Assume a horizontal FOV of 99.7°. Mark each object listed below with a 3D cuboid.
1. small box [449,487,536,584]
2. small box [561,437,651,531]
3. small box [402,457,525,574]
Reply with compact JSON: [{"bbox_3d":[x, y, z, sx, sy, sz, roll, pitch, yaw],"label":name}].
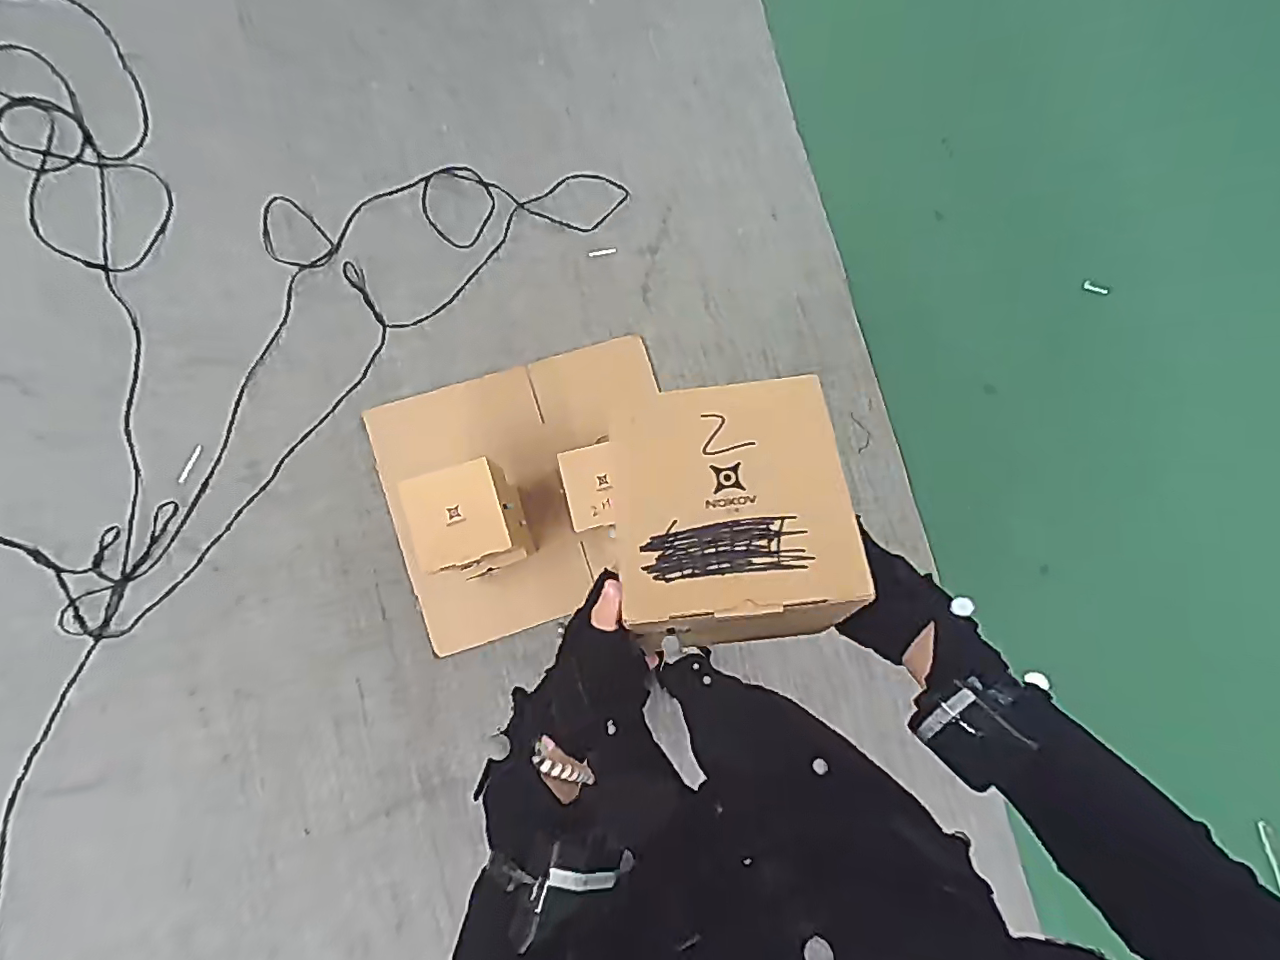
[{"bbox_3d":[-0.340,0.114,1.199,0.168,0.176,0.179,-20,86,-6],"label":"small box"},{"bbox_3d":[-0.080,0.015,1.232,0.168,0.176,0.179,-13,87,-5],"label":"small box"},{"bbox_3d":[-0.330,0.071,1.040,0.168,0.176,0.179,-17,86,-6],"label":"small box"}]
